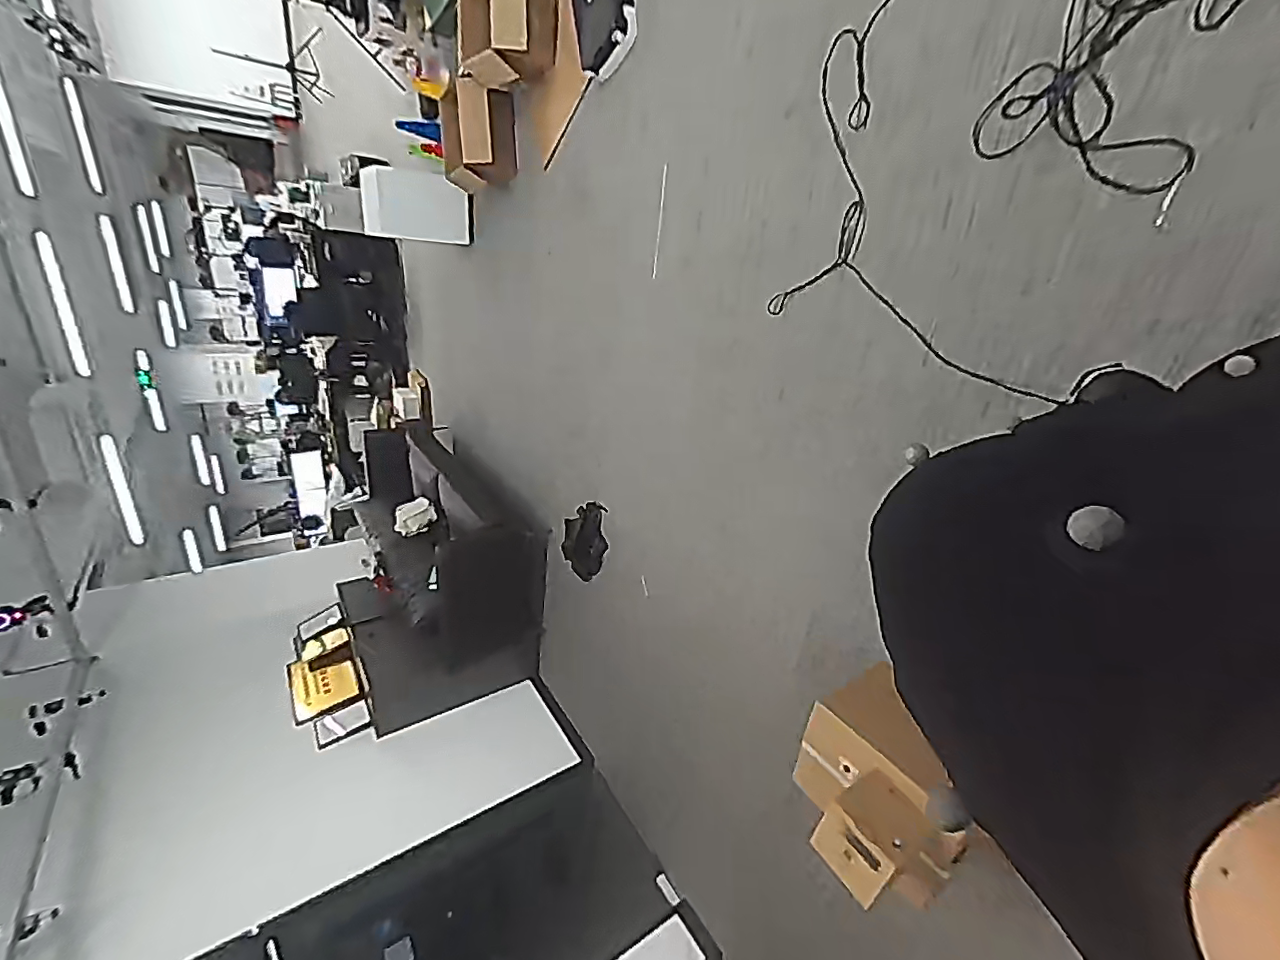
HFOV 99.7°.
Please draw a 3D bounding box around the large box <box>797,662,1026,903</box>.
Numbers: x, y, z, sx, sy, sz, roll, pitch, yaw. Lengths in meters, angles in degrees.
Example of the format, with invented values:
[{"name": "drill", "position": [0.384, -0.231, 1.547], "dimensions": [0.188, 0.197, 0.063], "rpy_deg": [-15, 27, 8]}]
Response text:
[{"name": "large box", "position": [0.701, 0.768, 1.437], "dimensions": [0.408, 0.320, 0.320], "rpy_deg": [36, 126, 48]}]
